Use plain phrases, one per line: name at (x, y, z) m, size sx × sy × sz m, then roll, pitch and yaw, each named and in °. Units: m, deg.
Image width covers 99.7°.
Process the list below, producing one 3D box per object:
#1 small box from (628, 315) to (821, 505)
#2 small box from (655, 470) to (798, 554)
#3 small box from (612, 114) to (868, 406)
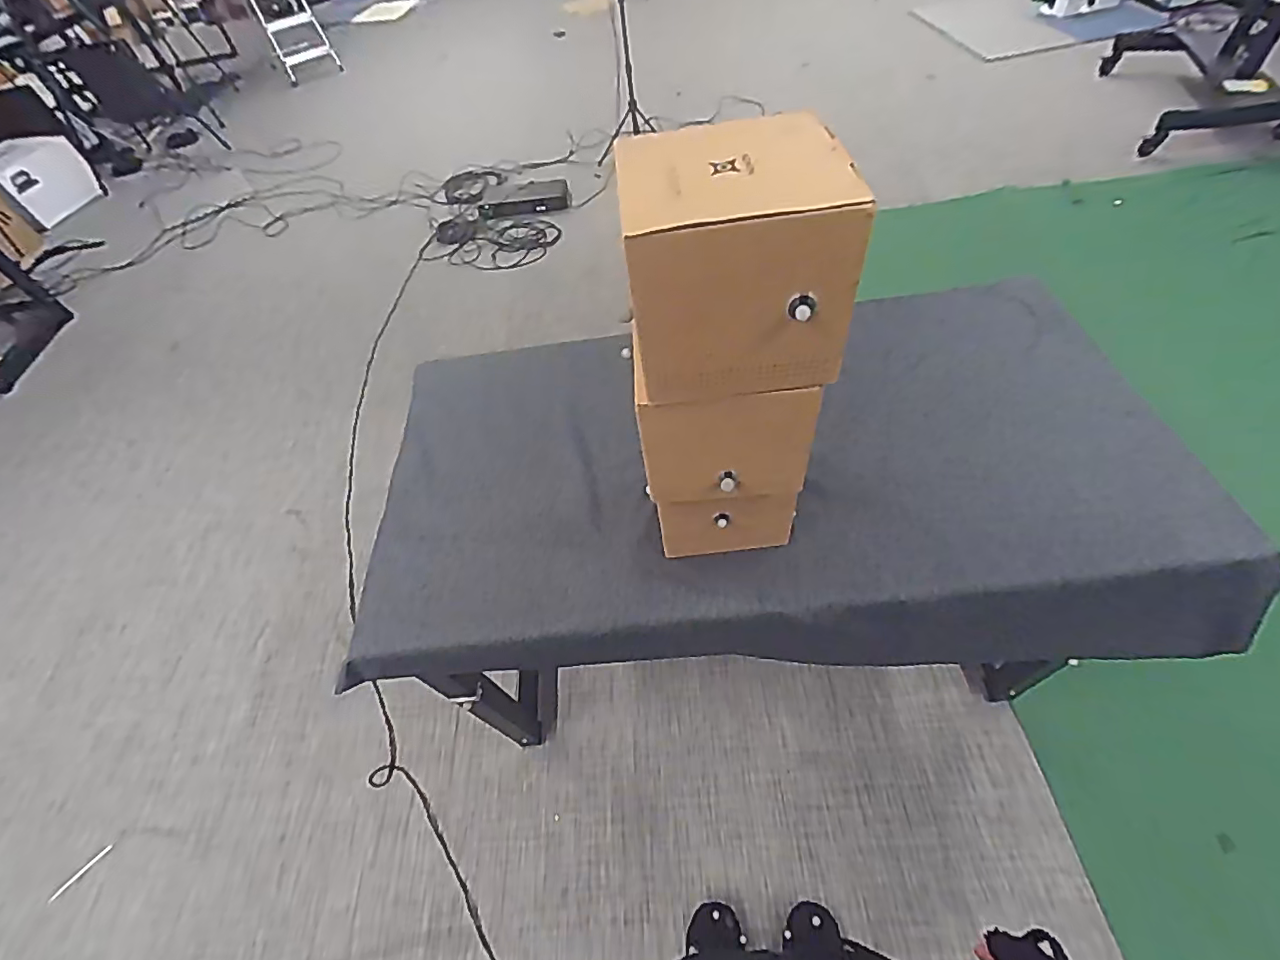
small box at (0.086, -0.089, 0.615) m, size 0.179 × 0.176 × 0.168 m, roll -8°, pitch 54°, yaw 3°
small box at (0.107, -0.012, 0.755) m, size 0.179 × 0.176 × 0.168 m, roll -7°, pitch 53°, yaw 4°
small box at (0.076, -0.188, 0.482) m, size 0.179 × 0.176 × 0.168 m, roll -8°, pitch 52°, yaw 4°
